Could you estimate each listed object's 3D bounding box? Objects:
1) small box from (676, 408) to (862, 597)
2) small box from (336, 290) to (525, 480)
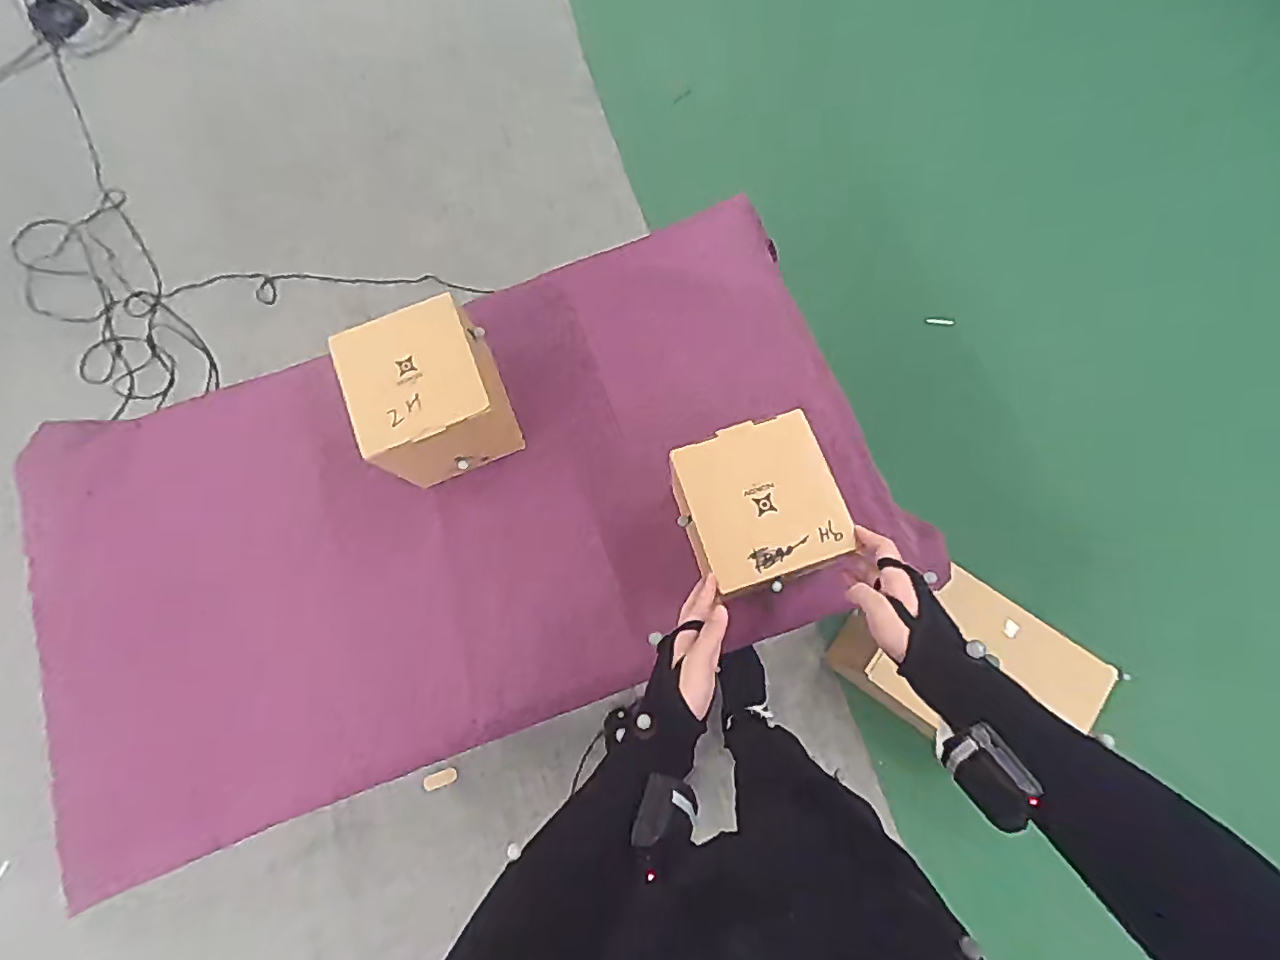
[{"bbox_3d":[0.146,0.038,0.685,0.168,0.176,0.179,-18,74,0],"label":"small box"},{"bbox_3d":[-0.277,-0.120,0.746,0.168,0.176,0.179,-22,77,-2],"label":"small box"}]
